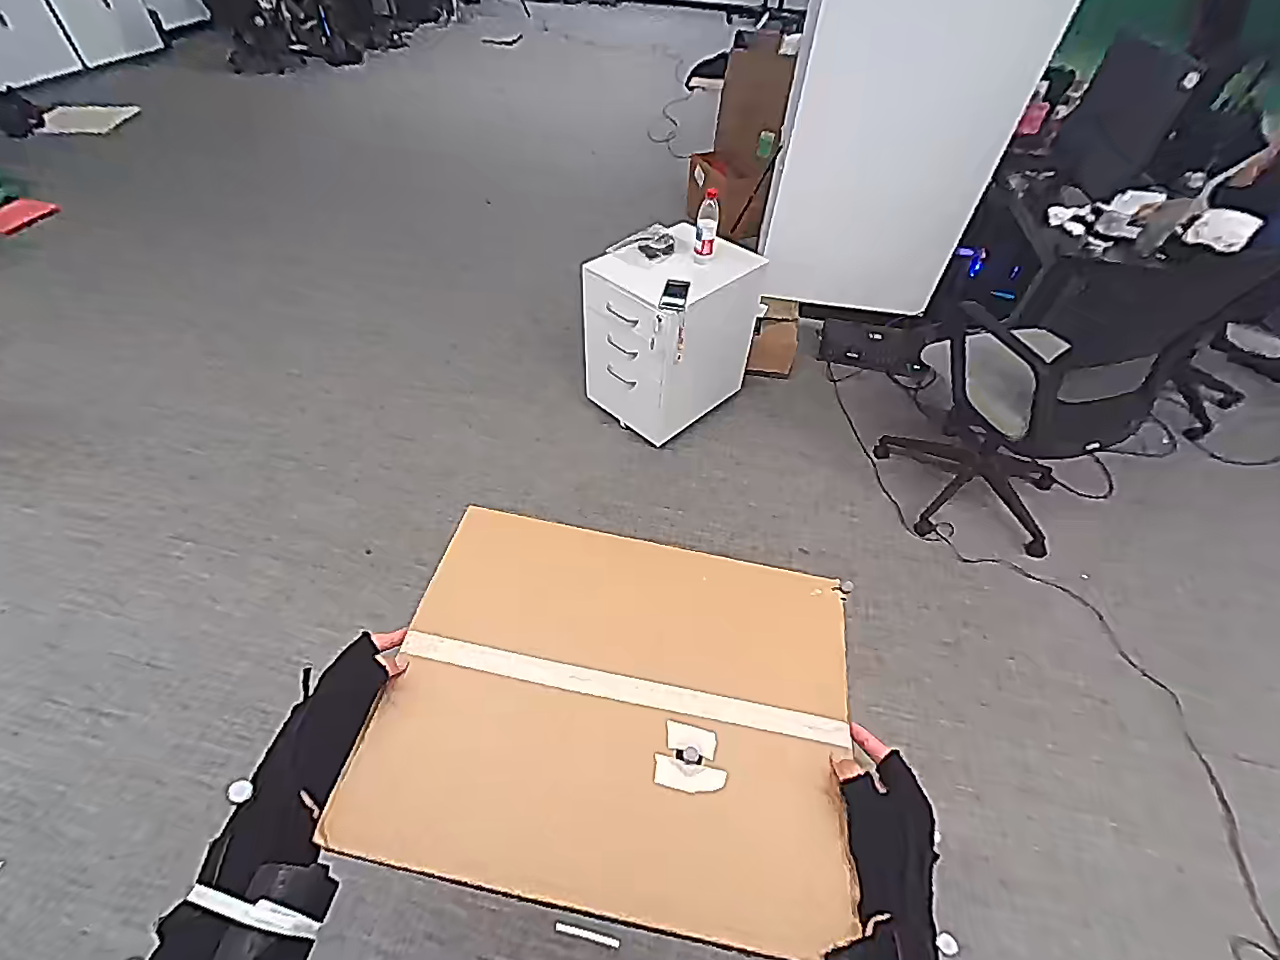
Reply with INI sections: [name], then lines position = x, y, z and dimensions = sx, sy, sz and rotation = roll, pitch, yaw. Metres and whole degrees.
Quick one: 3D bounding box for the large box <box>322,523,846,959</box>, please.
[large box]
position = -0.035, 0.290, 0.603
dimensions = 0.408, 0.320, 0.320
rotation = 12, 52, 2
